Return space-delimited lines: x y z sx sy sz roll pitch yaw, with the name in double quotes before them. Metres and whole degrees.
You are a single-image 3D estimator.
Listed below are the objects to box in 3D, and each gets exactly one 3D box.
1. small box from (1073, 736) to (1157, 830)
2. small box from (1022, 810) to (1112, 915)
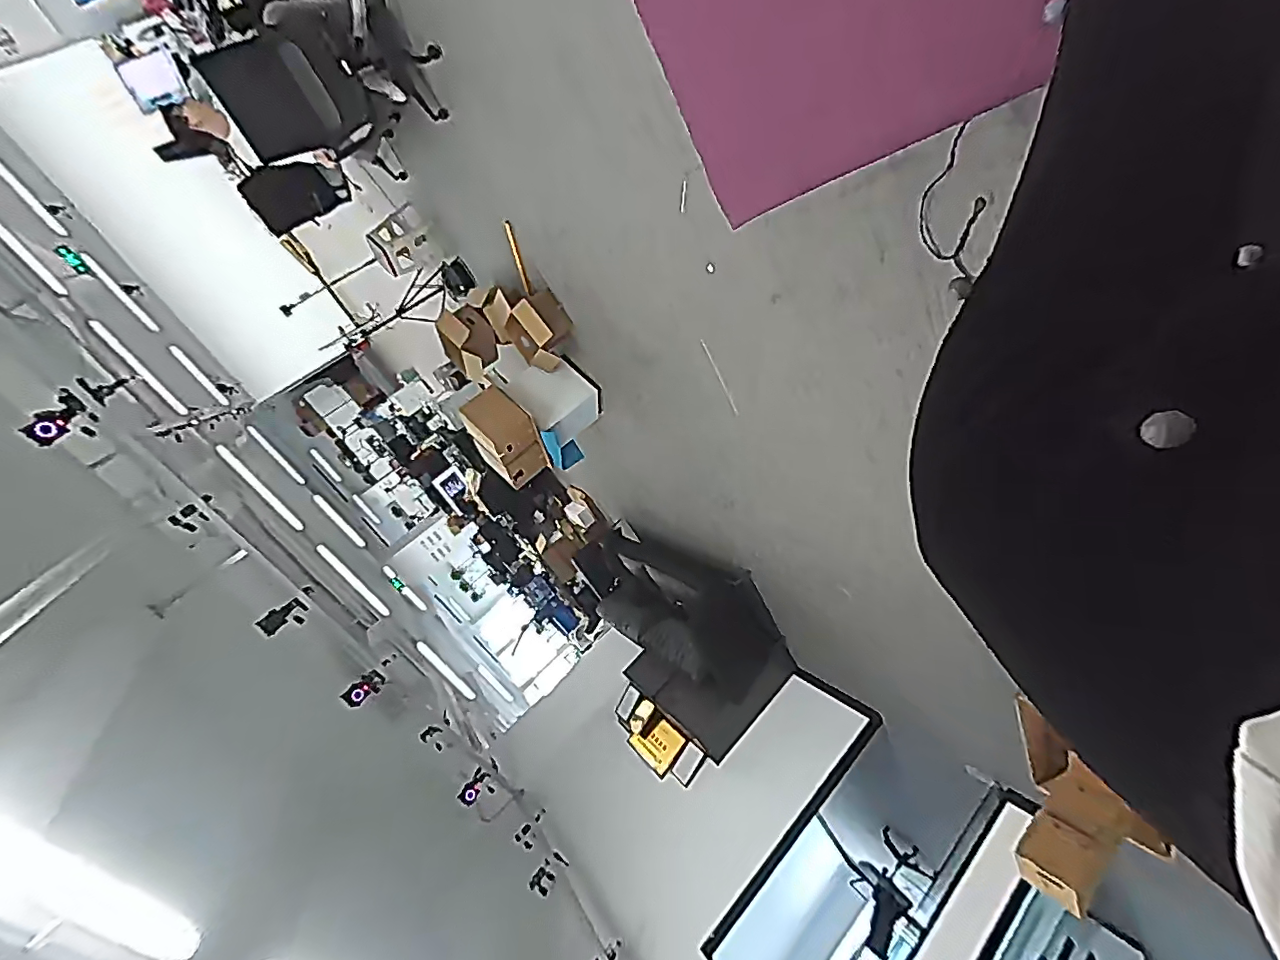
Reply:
"small box" 1.576 1.000 1.793 0.168 0.176 0.179 19 142 56
"small box" 1.324 1.174 1.673 0.168 0.176 0.179 17 141 58
